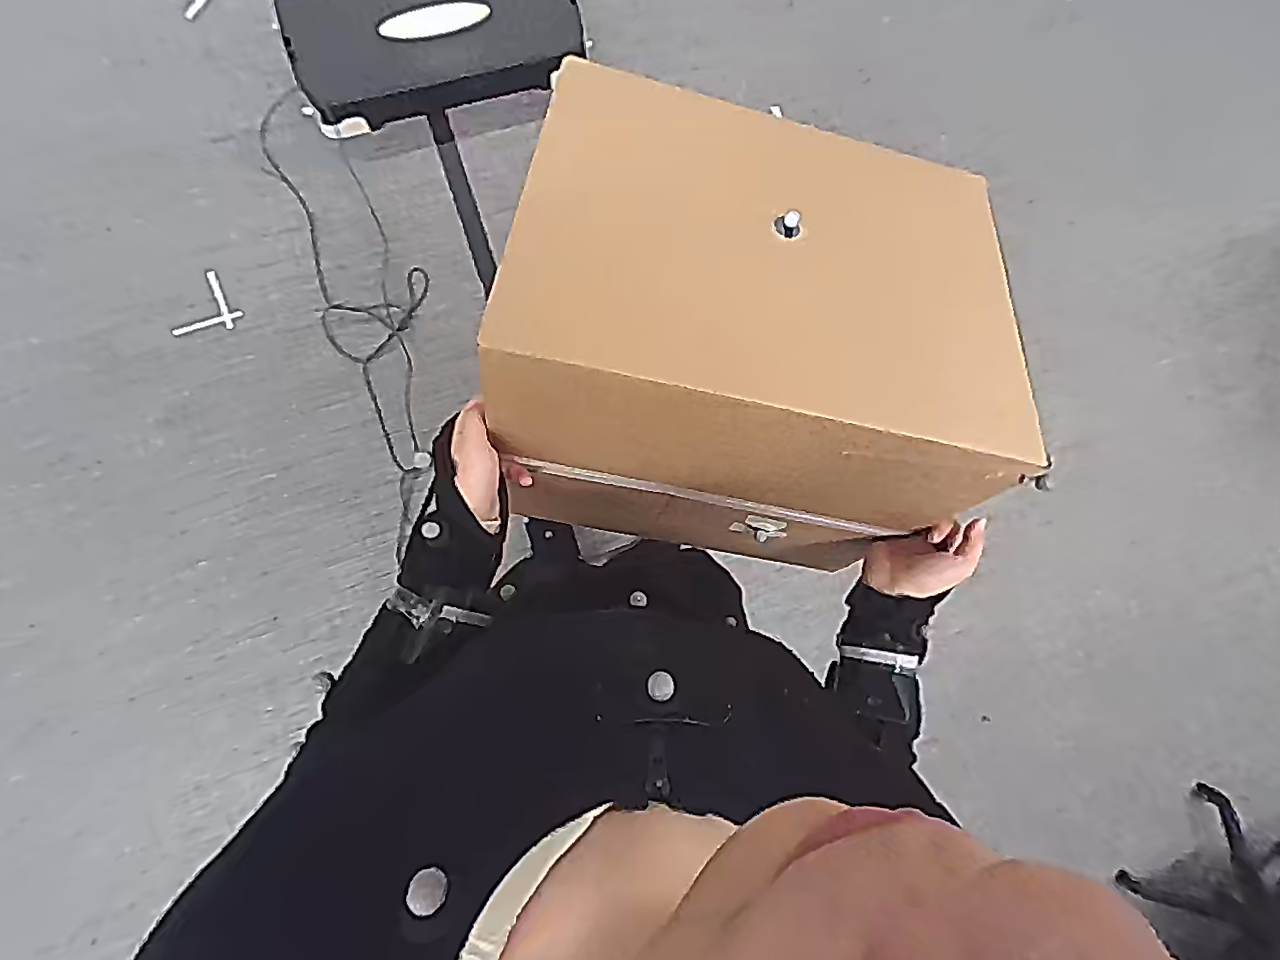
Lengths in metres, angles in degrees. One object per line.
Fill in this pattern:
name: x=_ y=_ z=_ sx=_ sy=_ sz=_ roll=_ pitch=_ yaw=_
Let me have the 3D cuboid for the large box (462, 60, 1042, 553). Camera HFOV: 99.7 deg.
large box: x=0.073 y=-0.137 z=0.548 sx=0.408 sy=0.320 sz=0.320 roll=9 pitch=67 yaw=-7
